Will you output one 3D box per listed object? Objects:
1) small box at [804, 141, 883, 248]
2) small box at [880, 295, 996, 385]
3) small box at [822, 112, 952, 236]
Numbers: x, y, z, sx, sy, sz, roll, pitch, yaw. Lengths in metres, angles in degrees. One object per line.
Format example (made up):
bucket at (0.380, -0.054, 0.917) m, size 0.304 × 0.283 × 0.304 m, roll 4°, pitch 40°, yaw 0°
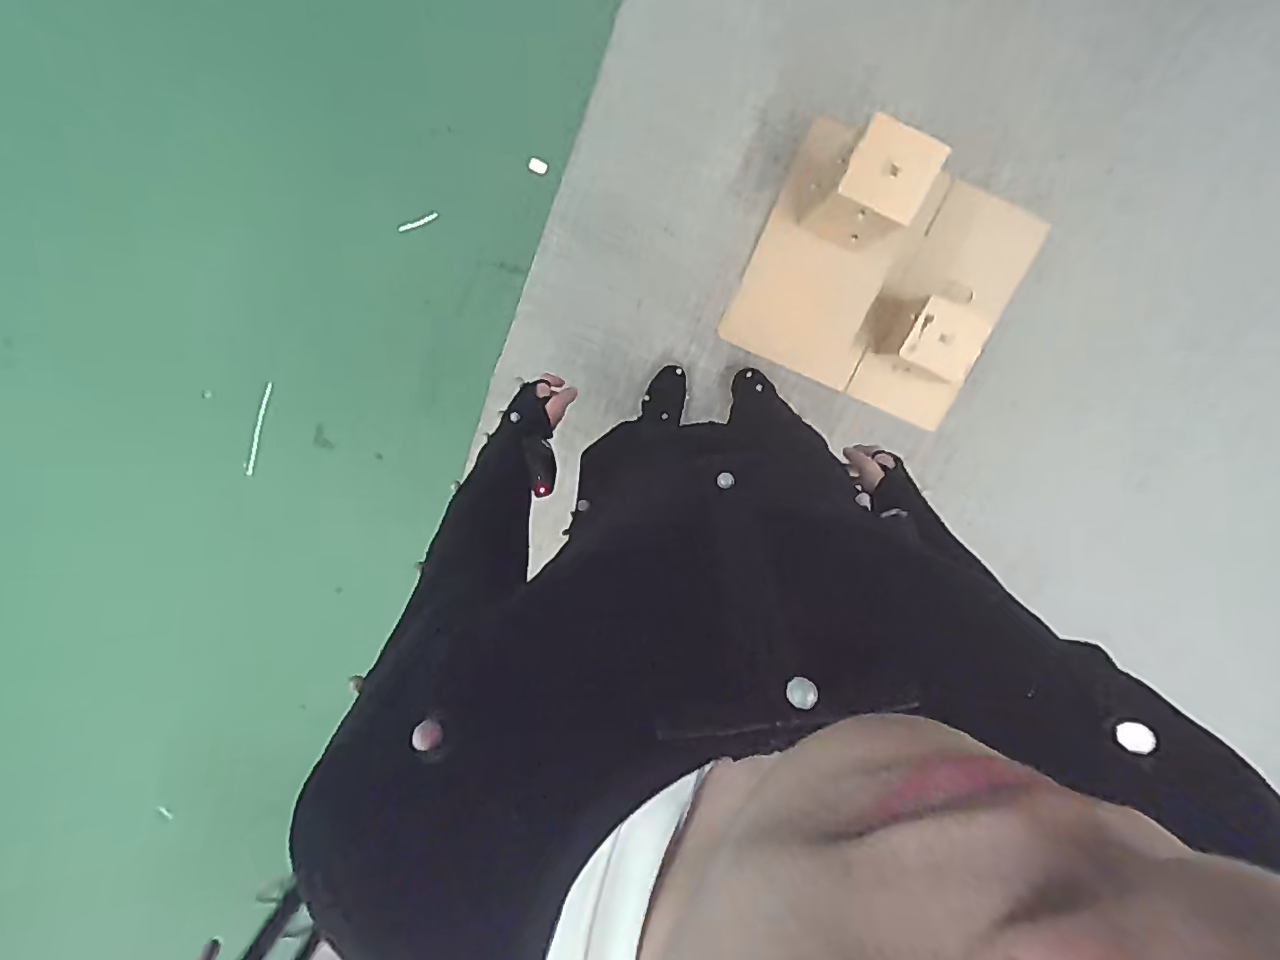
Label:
small box at (0.539, -0.701, 1.353) m, size 0.179 × 0.176 × 0.168 m, roll 25°, pitch 103°, yaw -2°
small box at (0.772, -0.366, 1.421) m, size 0.179 × 0.176 × 0.168 m, roll 26°, pitch 103°, yaw -2°
small box at (0.534, -0.661, 1.196) m, size 0.179 × 0.176 × 0.168 m, roll 25°, pitch 104°, yaw -2°
